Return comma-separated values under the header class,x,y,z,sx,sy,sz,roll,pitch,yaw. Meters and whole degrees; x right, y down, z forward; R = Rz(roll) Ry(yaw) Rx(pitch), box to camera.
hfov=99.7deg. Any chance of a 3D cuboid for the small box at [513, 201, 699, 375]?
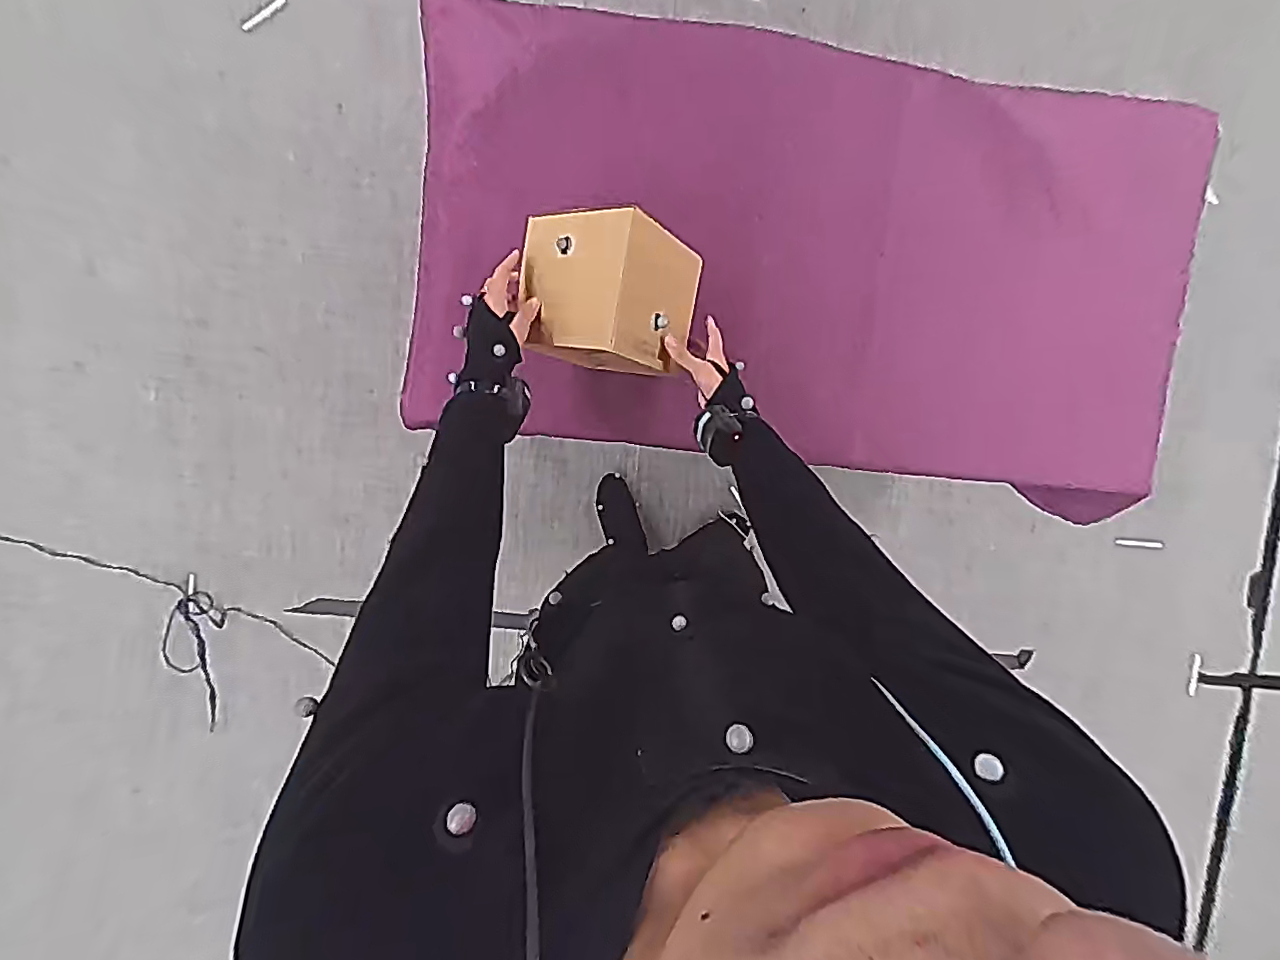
class,x,y,z,sx,sy,sz,roll,pitch,yaw
small box,-0.048,-0.243,0.722,0.179,0.168,0.176,13,96,34
